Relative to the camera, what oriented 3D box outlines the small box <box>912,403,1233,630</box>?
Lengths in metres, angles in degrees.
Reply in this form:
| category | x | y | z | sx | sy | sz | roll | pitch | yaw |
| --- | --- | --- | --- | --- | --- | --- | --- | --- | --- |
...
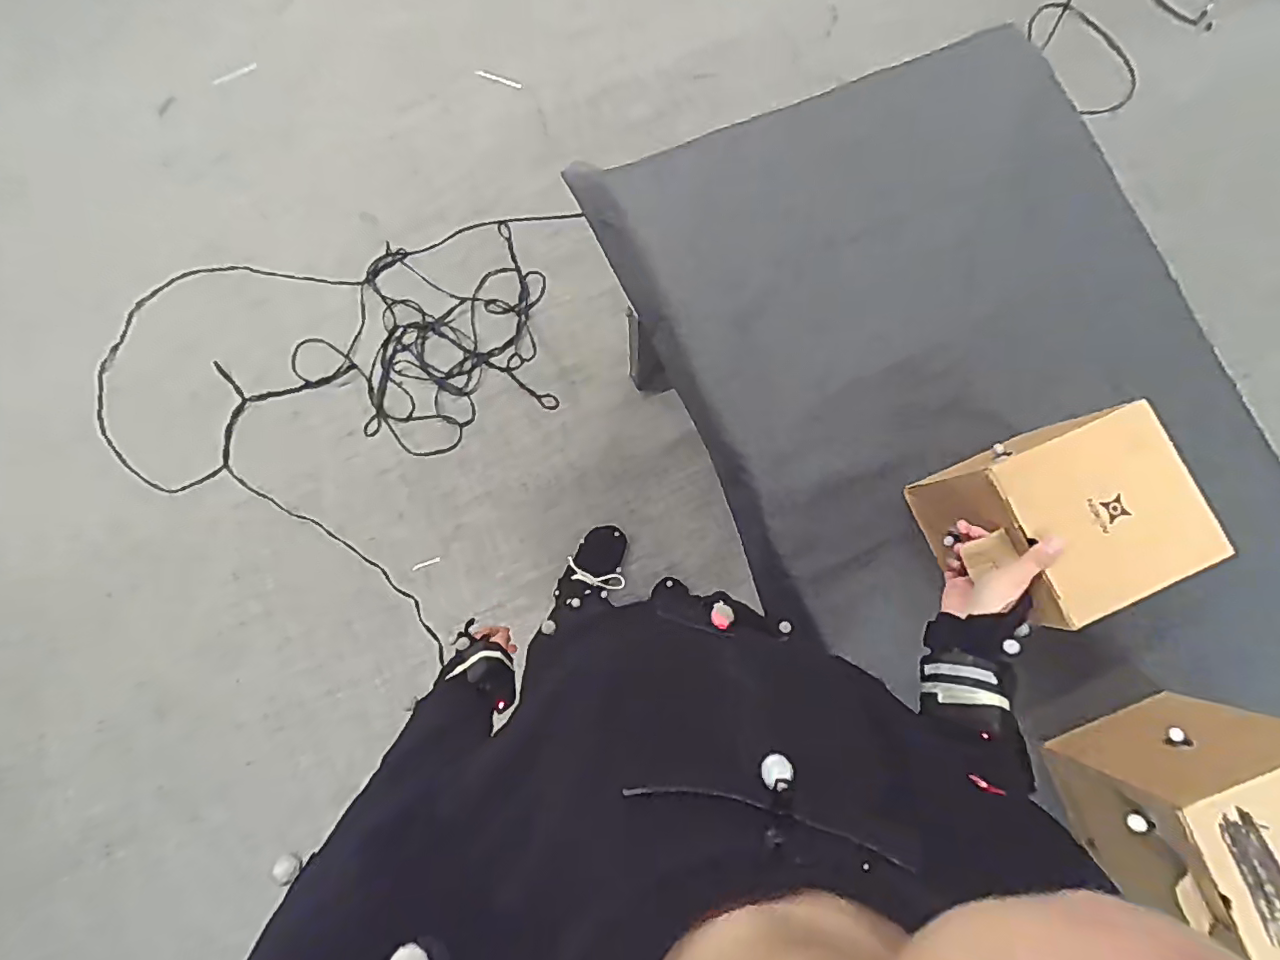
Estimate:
| category | x | y | z | sx | sy | sz | roll | pitch | yaw |
| --- | --- | --- | --- | --- | --- | --- | --- | --- | --- |
| small box | 0.441 | 0.041 | 0.584 | 0.179 | 0.176 | 0.168 | -24 | 83 | -3 |
